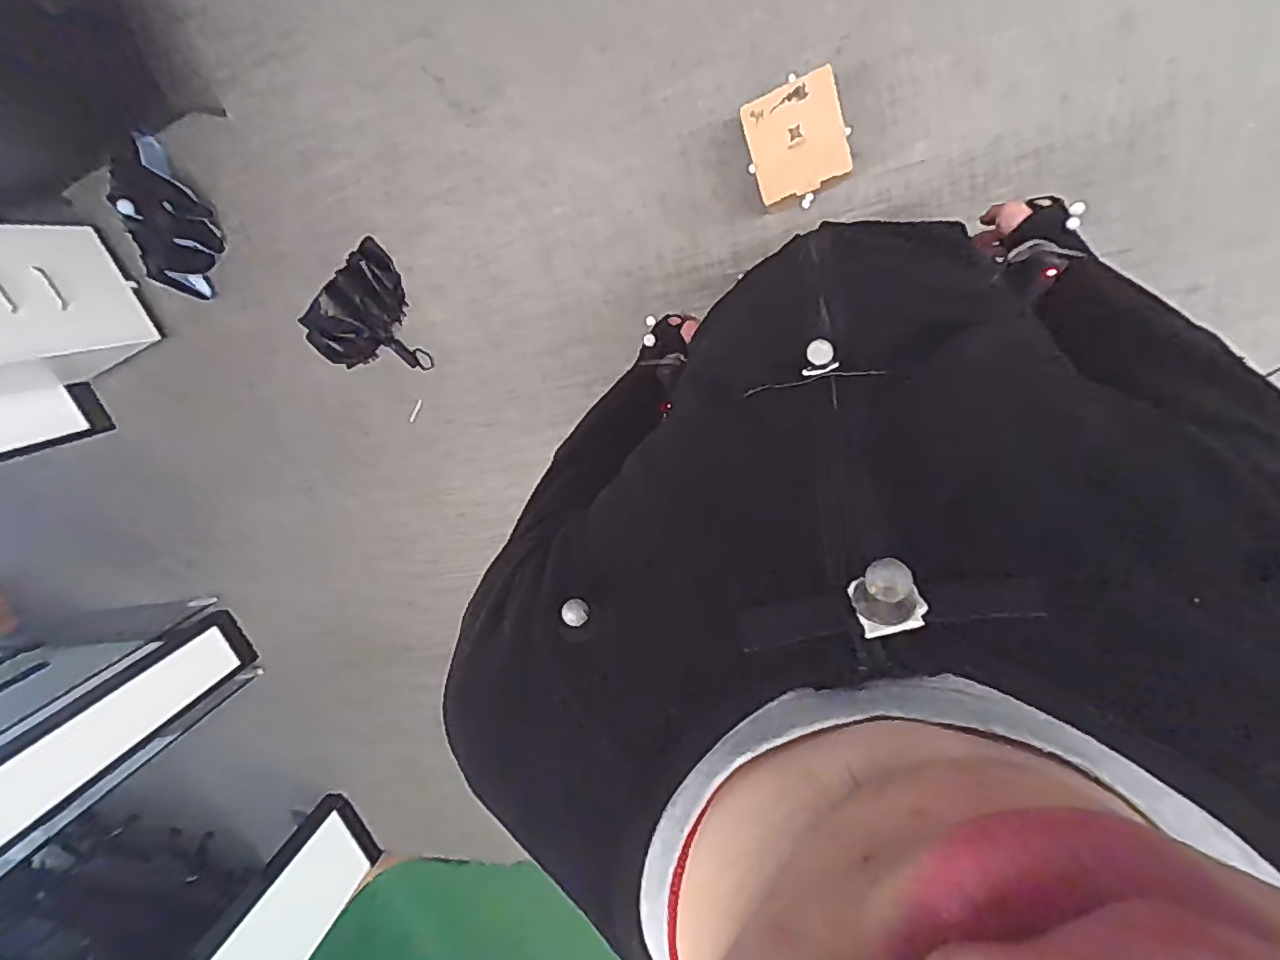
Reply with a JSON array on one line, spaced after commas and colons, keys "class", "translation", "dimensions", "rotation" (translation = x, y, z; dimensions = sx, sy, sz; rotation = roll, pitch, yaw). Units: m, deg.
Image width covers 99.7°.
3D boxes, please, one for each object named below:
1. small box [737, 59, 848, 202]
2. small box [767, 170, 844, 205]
[{"class": "small box", "translation": [0.300, -0.661, 1.046], "dimensions": [0.168, 0.176, 0.179], "rotation": [-13, 110, 23]}, {"class": "small box", "translation": [0.341, -0.726, 1.189], "dimensions": [0.168, 0.176, 0.179], "rotation": [-15, 110, 23]}]
